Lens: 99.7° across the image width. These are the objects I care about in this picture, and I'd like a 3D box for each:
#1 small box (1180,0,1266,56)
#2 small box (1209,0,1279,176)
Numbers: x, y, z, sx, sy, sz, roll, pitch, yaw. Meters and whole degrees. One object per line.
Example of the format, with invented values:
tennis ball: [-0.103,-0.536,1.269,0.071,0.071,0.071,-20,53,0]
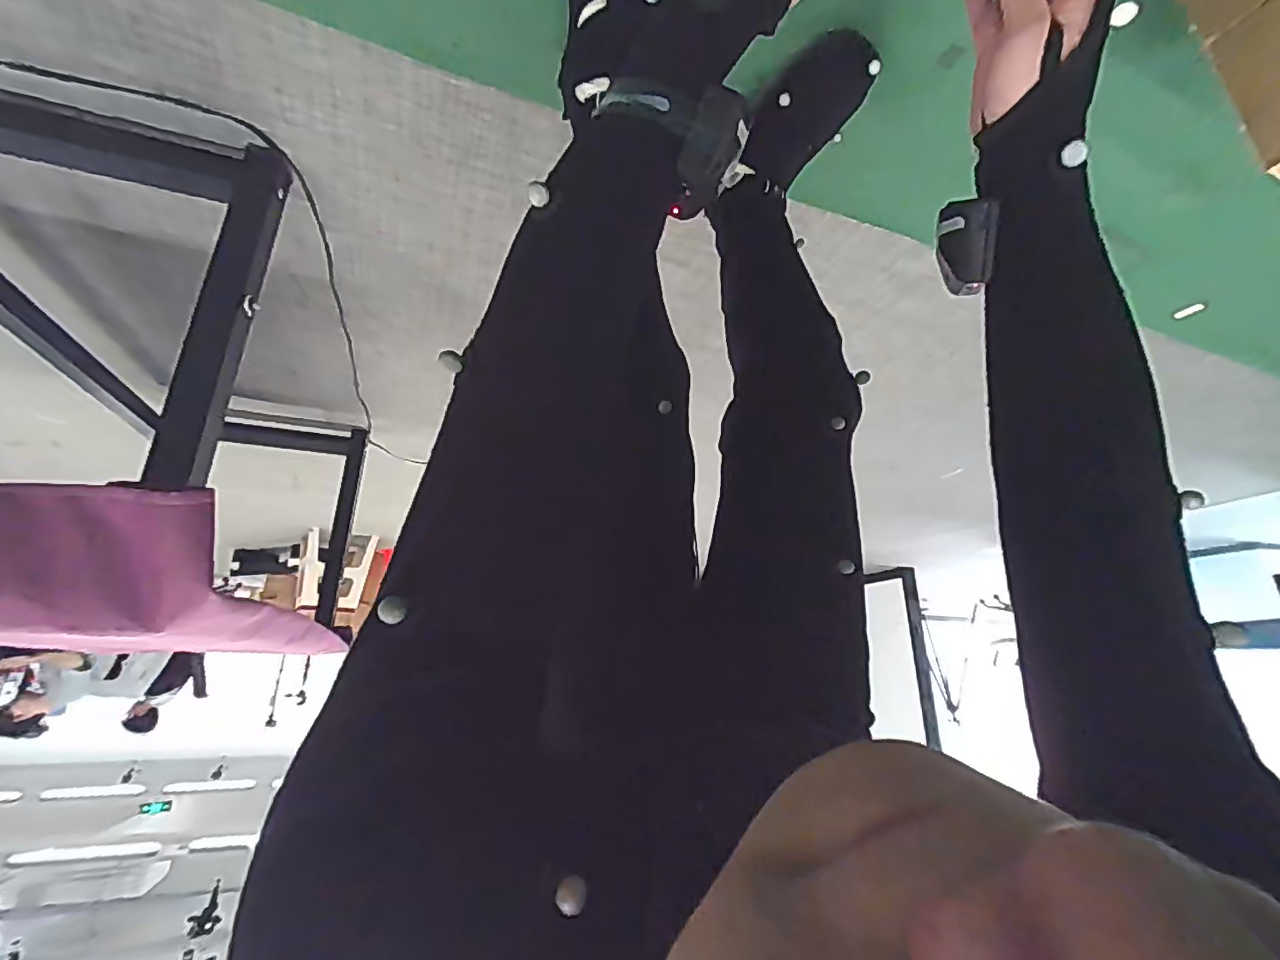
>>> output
small box: [0.678,-0.535,0.534,0.168,0.176,0.179,8,159,-22]
small box: [0.680,-0.380,0.478,0.168,0.176,0.179,8,159,-21]
